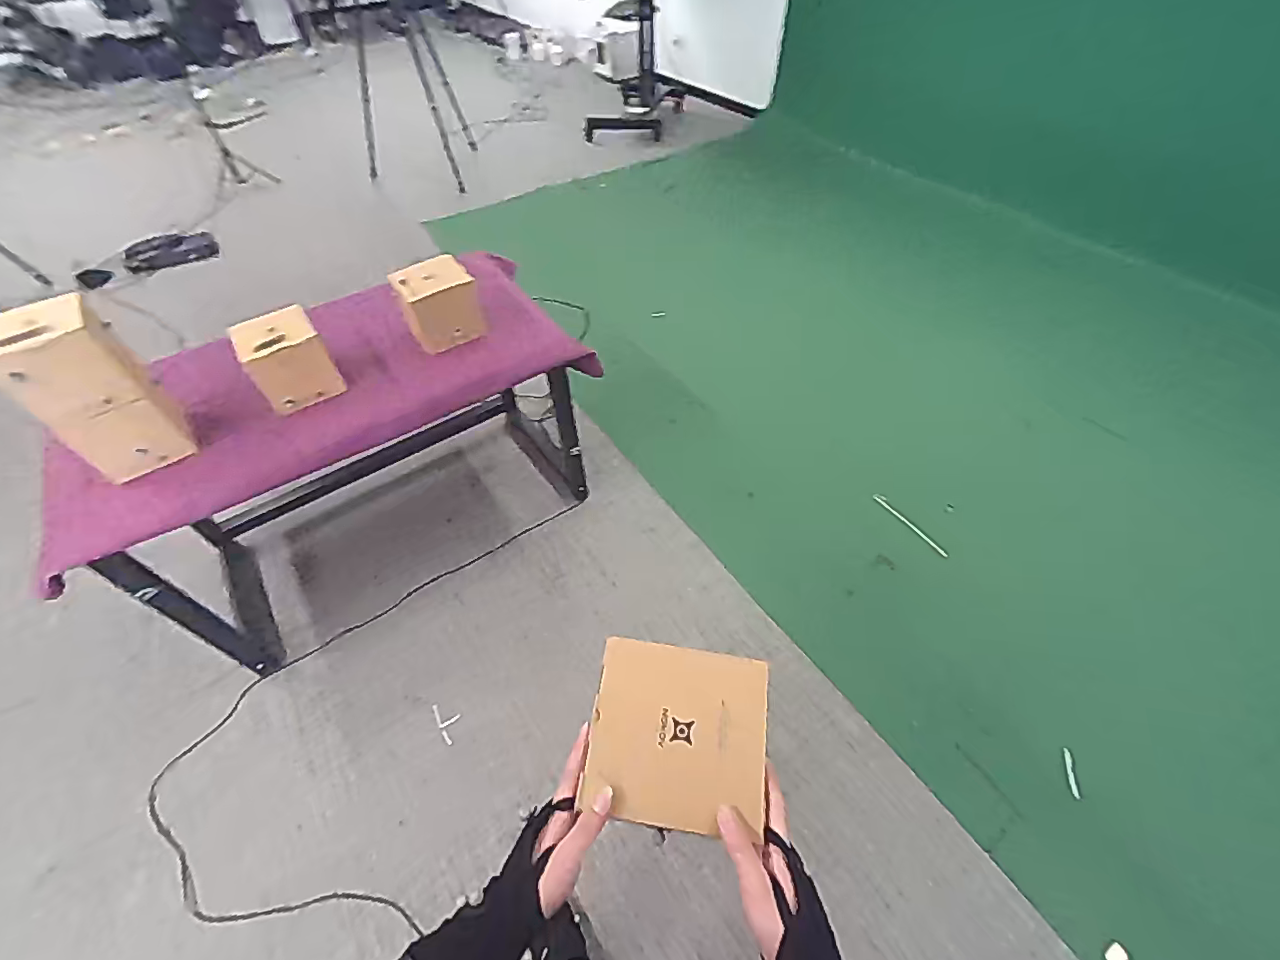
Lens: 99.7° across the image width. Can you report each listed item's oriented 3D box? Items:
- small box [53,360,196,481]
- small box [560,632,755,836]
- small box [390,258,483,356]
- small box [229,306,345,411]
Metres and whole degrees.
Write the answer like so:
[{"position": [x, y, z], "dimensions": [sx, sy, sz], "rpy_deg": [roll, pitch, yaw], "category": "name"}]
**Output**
[{"position": [-1.141, -0.130, 1.205], "dimensions": [0.168, 0.176, 0.179], "rpy_deg": [-31, 56, -22], "category": "small box"}, {"position": [0.022, 0.286, 0.602], "dimensions": [0.179, 0.176, 0.168], "rpy_deg": [8, 57, 4], "category": "small box"}, {"position": [-0.544, -0.470, 1.473], "dimensions": [0.179, 0.176, 0.168], "rpy_deg": [-29, 55, -20], "category": "small box"}, {"position": [-0.863, -0.292, 1.334], "dimensions": [0.168, 0.176, 0.179], "rpy_deg": [-30, 55, -21], "category": "small box"}]
